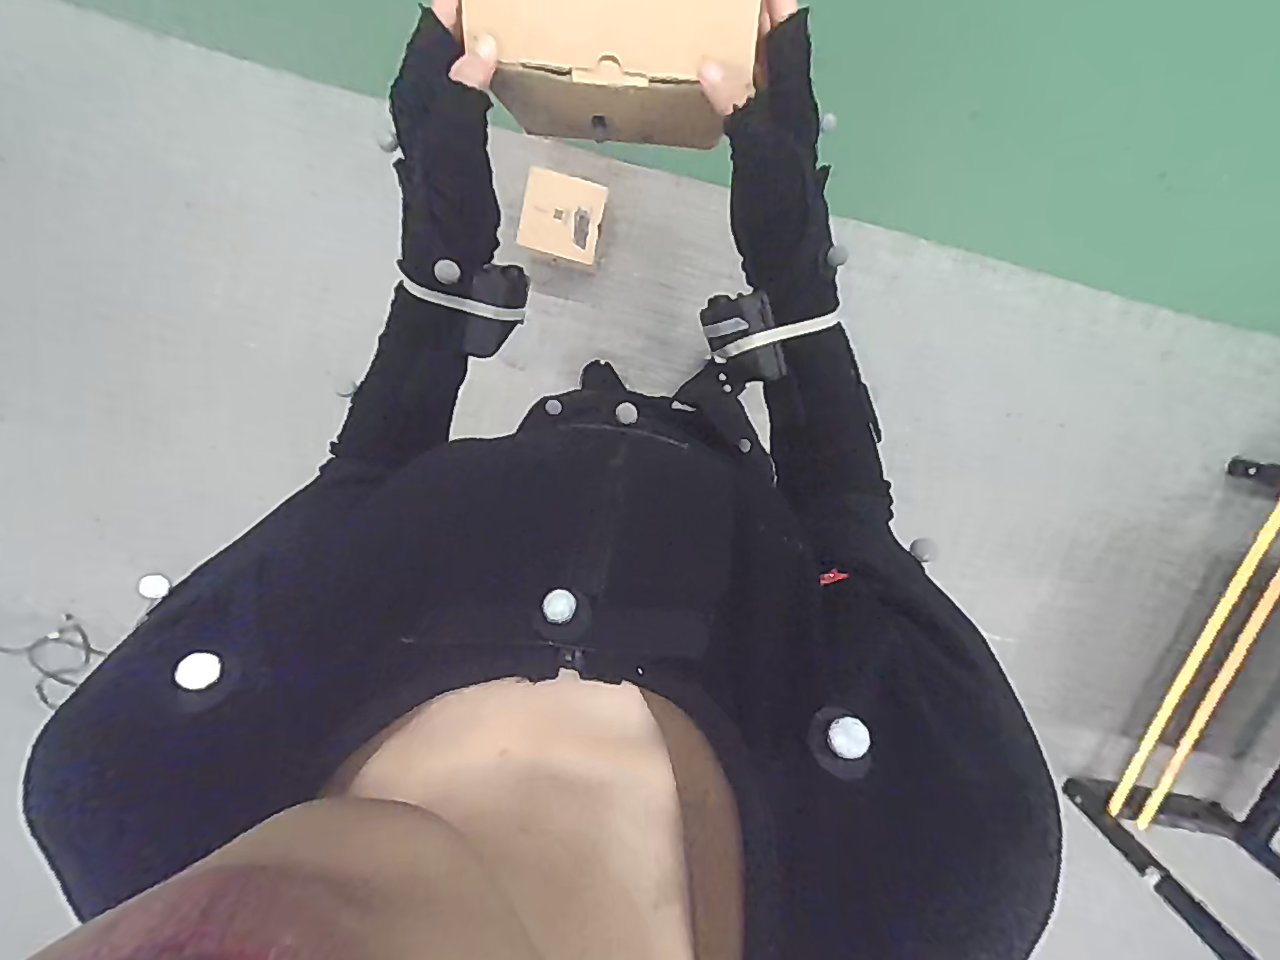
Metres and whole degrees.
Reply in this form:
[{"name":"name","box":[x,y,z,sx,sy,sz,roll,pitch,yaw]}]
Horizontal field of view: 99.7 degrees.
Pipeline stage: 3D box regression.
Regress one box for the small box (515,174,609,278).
[{"name":"small box","box":[-0.173,-0.578,1.257,0.179,0.176,0.168,14,103,-4]}]

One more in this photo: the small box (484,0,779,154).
[{"name":"small box","box":[-0.001,-0.337,0.356,0.168,0.176,0.179,4,112,-1]}]
